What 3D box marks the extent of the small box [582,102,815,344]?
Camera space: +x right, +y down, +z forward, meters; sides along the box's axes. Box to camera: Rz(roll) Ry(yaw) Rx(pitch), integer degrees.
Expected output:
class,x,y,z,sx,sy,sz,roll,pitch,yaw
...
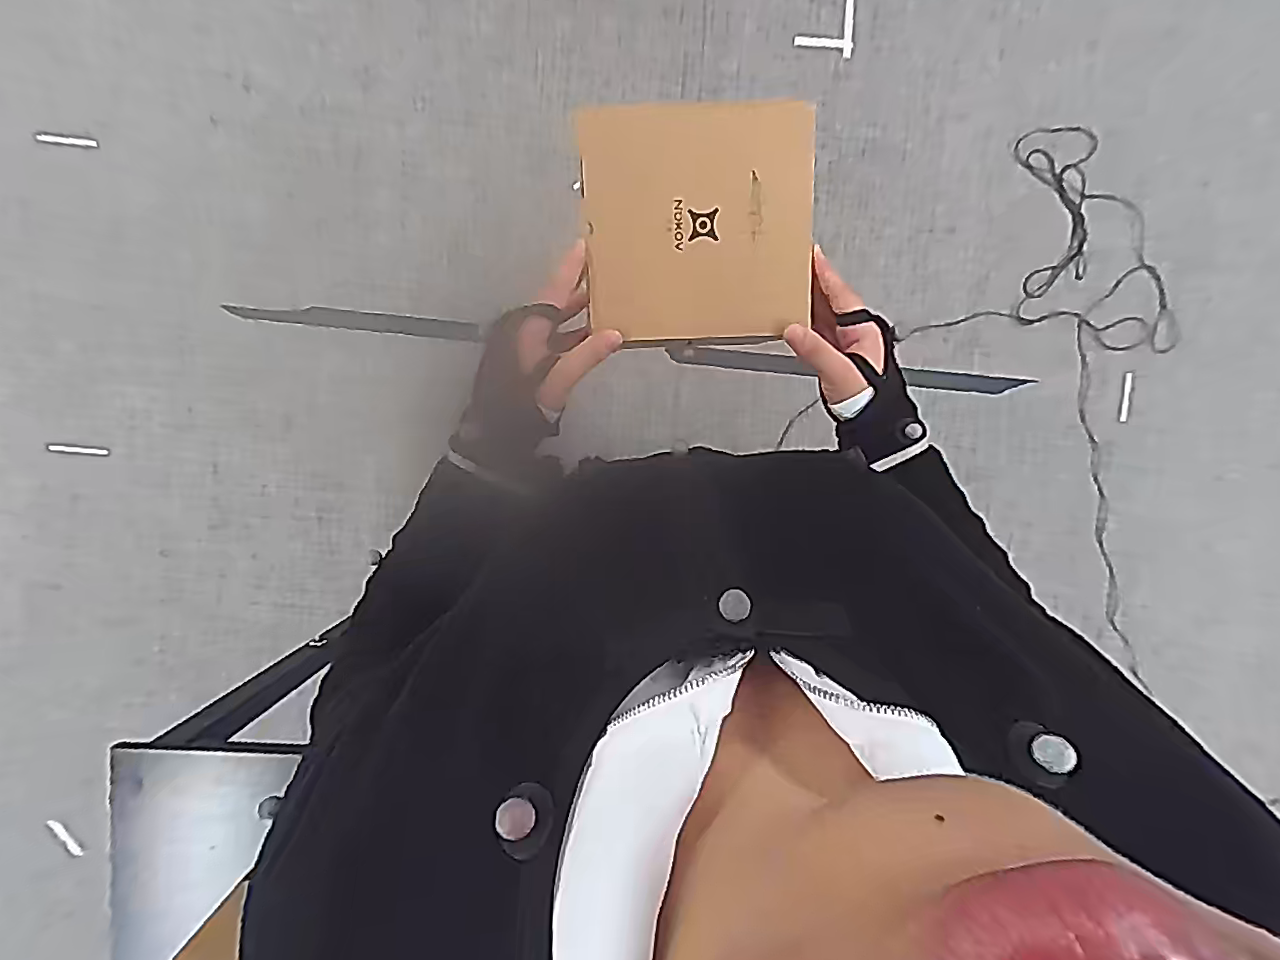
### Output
class,x,y,z,sx,sy,sz,roll,pitch,yaw
small box,0.044,-0.214,0.494,0.179,0.176,0.168,-3,102,-2
